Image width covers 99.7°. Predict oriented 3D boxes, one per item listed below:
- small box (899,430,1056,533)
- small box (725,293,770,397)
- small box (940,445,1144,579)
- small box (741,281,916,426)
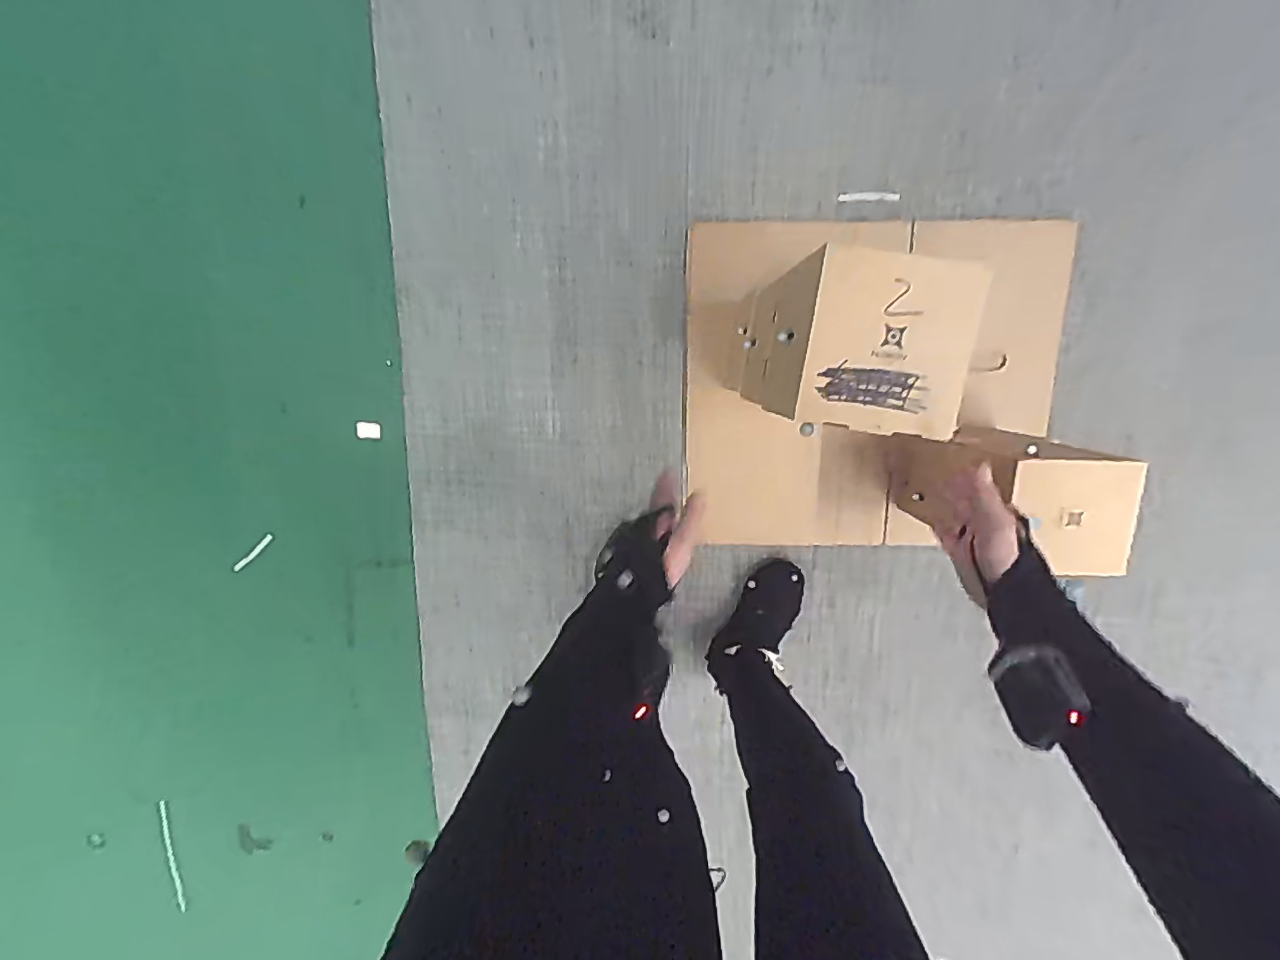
[{"bbox_3d":[0.596,0.001,0.980,0.179,0.176,0.168,1,102,1],"label":"small box"},{"bbox_3d":[0.257,-0.218,0.941,0.179,0.176,0.168,9,101,-1],"label":"small box"},{"bbox_3d":[0.592,0.040,0.823,0.179,0.176,0.168,1,102,3],"label":"small box"},{"bbox_3d":[0.257,-0.179,0.780,0.179,0.176,0.168,8,101,0],"label":"small box"}]
